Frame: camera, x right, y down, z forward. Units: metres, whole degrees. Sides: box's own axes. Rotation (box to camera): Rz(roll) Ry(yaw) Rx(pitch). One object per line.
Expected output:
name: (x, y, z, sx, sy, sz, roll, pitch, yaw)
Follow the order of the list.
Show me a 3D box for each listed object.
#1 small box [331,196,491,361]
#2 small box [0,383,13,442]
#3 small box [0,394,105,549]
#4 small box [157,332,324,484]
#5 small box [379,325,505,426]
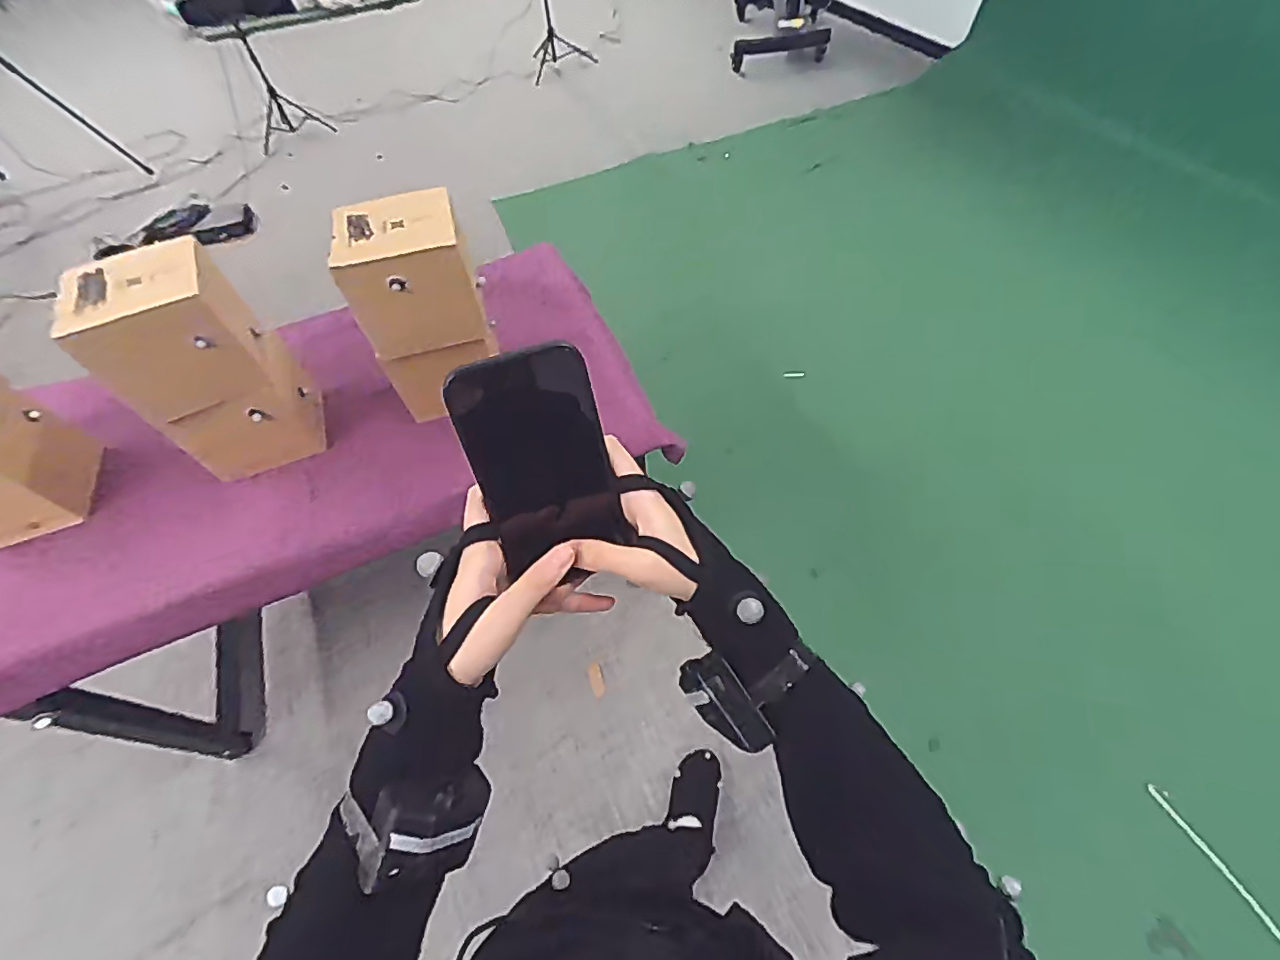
small box: (-0.351, -0.311, 0.850, 0.179, 0.176, 0.168, -15, 55, -7)
small box: (-1.057, -0.104, 0.756, 0.168, 0.176, 0.179, -24, 58, -13)
small box: (-1.044, -0.004, 0.887, 0.168, 0.176, 0.179, -20, 56, -9)
small box: (-0.675, -0.122, 0.940, 0.179, 0.176, 0.168, -20, 56, -10)
small box: (-0.354, -0.226, 0.991, 0.179, 0.176, 0.168, -15, 55, -5)
